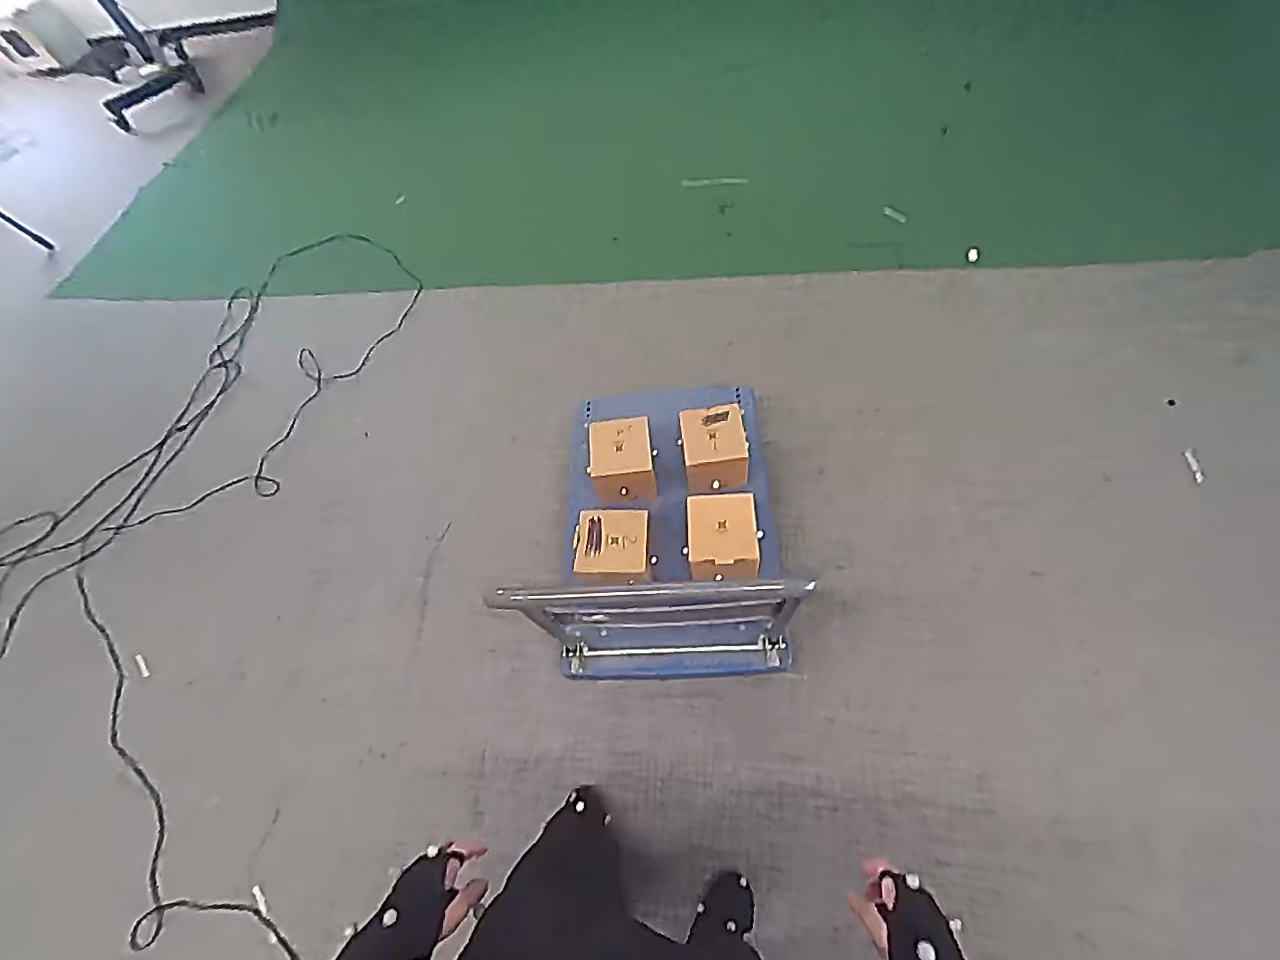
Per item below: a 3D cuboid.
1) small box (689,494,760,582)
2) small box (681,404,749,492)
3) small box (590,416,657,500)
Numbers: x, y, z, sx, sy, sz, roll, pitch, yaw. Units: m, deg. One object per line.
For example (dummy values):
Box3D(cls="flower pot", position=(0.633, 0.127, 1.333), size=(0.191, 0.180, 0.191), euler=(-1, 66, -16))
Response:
Box3D(cls="small box", position=(0.209, 0.151, 1.377), size=(0.168, 0.176, 0.179), euler=(-3, 61, 6))
Box3D(cls="small box", position=(0.206, -0.087, 1.507), size=(0.168, 0.176, 0.179), euler=(-7, 62, 5))
Box3D(cls="small box", position=(-0.044, -0.054, 1.525), size=(0.168, 0.176, 0.179), euler=(-6, 60, 4))
